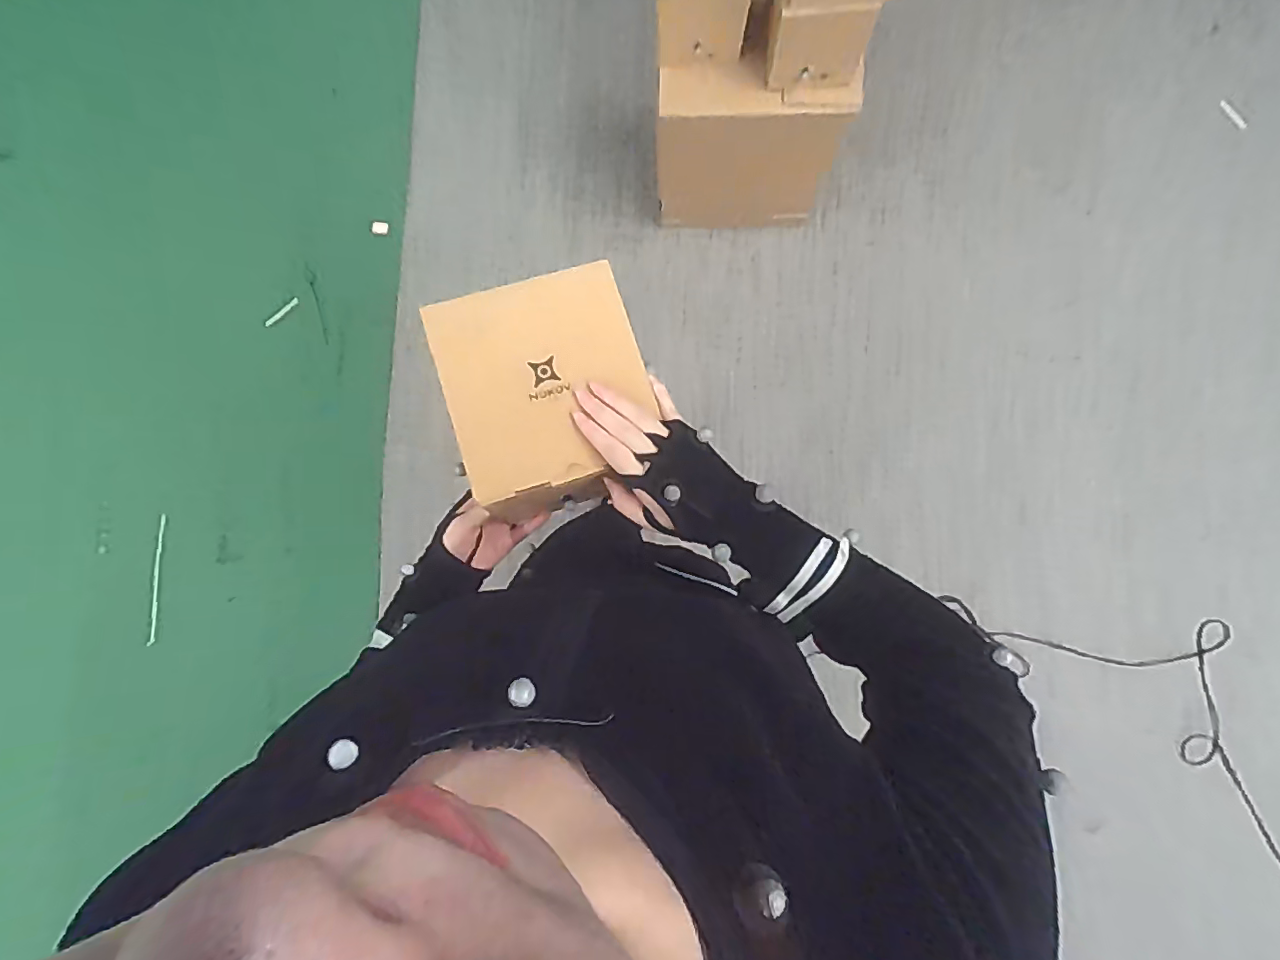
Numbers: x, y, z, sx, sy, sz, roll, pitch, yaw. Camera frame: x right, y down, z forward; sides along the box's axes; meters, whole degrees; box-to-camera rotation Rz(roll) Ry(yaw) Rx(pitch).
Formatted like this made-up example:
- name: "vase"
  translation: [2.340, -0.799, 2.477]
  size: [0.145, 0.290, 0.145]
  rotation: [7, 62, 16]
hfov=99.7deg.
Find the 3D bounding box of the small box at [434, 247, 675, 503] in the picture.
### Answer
- name: "small box"
  translation: [-0.080, -0.089, 0.528]
  size: [0.168, 0.176, 0.179]
  rotation: [-17, 84, -8]
